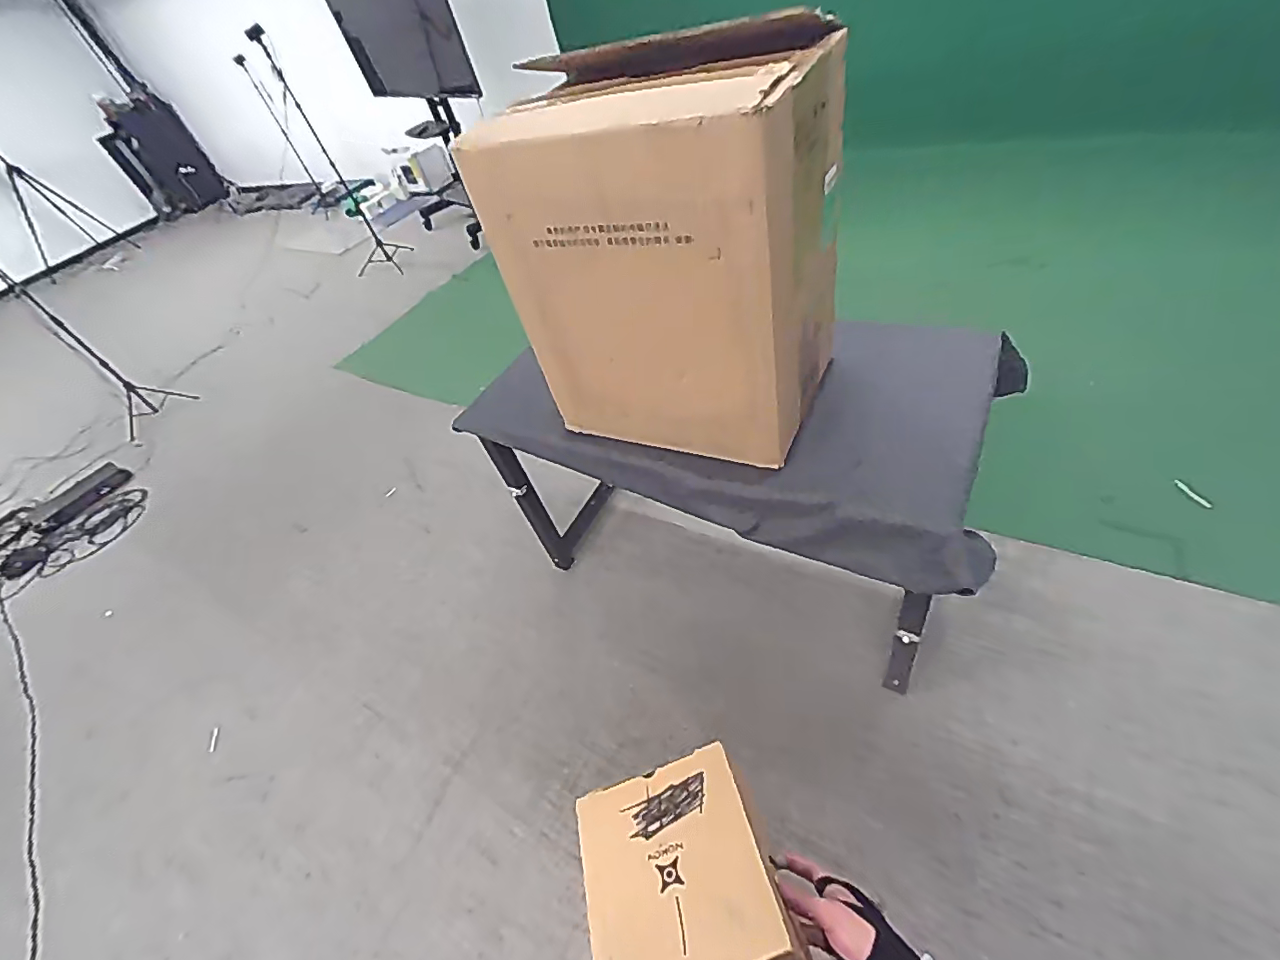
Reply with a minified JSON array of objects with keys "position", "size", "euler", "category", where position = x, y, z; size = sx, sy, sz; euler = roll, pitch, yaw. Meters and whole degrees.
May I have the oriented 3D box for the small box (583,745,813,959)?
[{"position":[0.057,0.409,0.538],"size":[0.168,0.176,0.179],"euler":[-23,36,2],"category":"small box"}]
